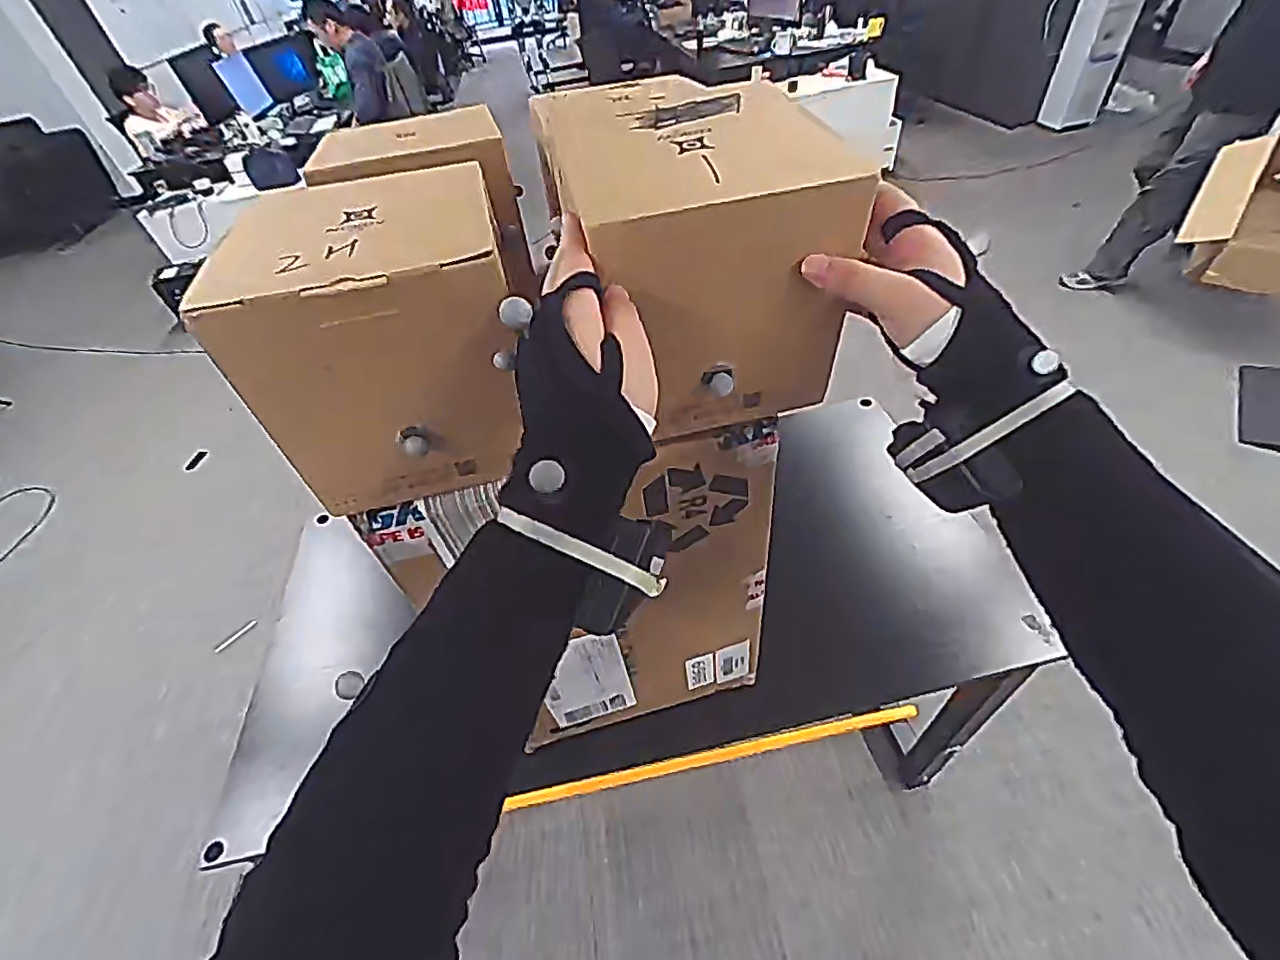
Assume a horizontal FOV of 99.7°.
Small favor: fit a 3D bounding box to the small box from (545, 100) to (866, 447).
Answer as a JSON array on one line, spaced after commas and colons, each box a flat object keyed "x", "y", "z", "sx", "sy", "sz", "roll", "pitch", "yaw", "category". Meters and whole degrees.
[{"x": 0.034, "y": -0.153, "z": 0.404, "sx": 0.168, "sy": 0.176, "sz": 0.179, "roll": -14, "pitch": 50, "yaw": -5, "category": "small box"}]
